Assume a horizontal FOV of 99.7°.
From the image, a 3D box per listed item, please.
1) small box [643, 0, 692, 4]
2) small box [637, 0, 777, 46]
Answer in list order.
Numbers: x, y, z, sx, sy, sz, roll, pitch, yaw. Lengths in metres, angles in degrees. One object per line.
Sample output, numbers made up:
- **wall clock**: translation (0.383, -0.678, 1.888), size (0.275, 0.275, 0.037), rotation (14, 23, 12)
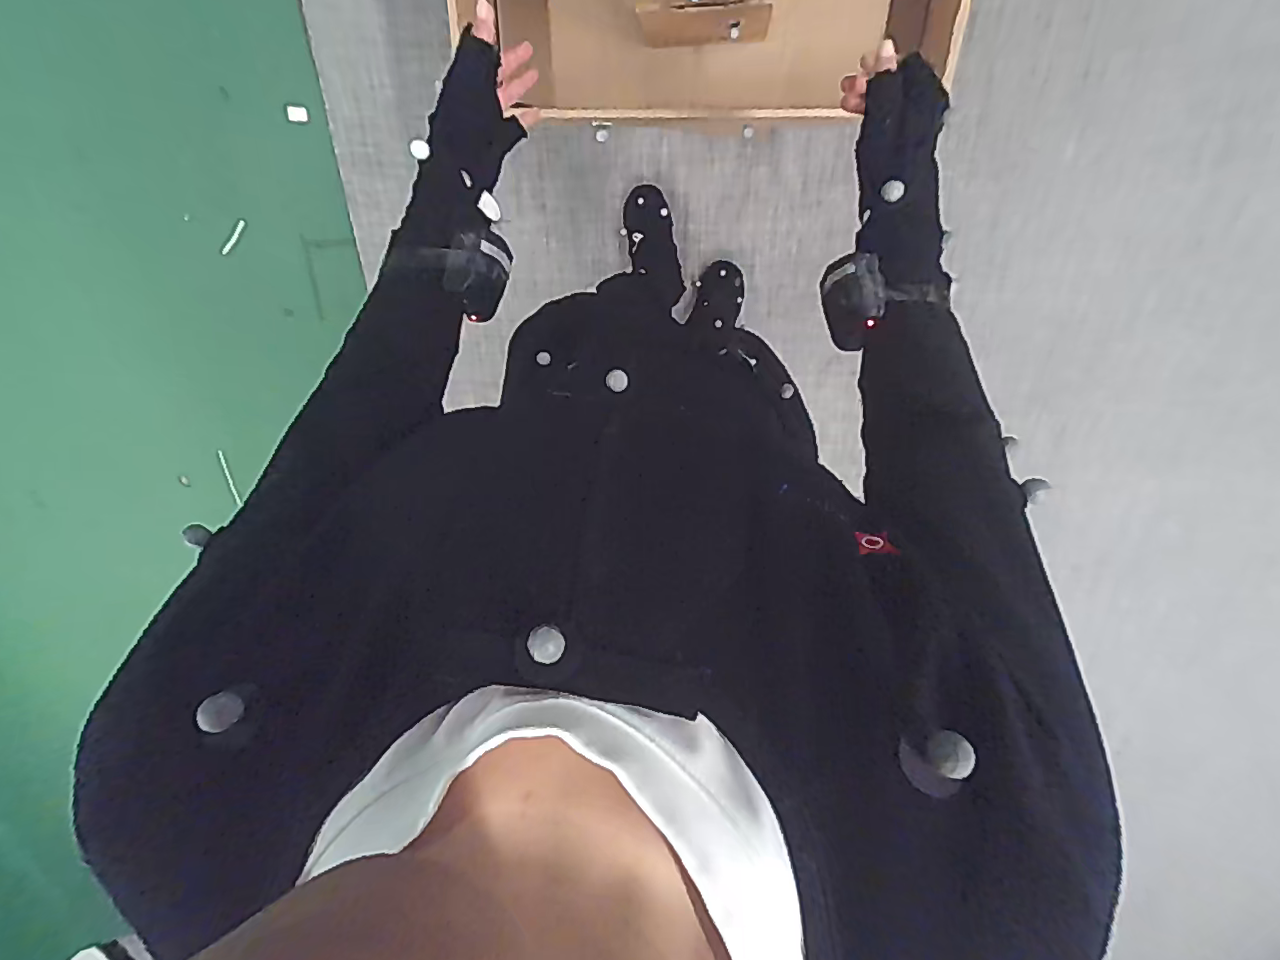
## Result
- **small box**: translation (0.058, -0.584, 0.512), size (0.168, 0.176, 0.179), rotation (2, 118, 7)
- **small box**: translation (0.087, -0.655, 0.657), size (0.168, 0.176, 0.179), rotation (2, 115, 7)
